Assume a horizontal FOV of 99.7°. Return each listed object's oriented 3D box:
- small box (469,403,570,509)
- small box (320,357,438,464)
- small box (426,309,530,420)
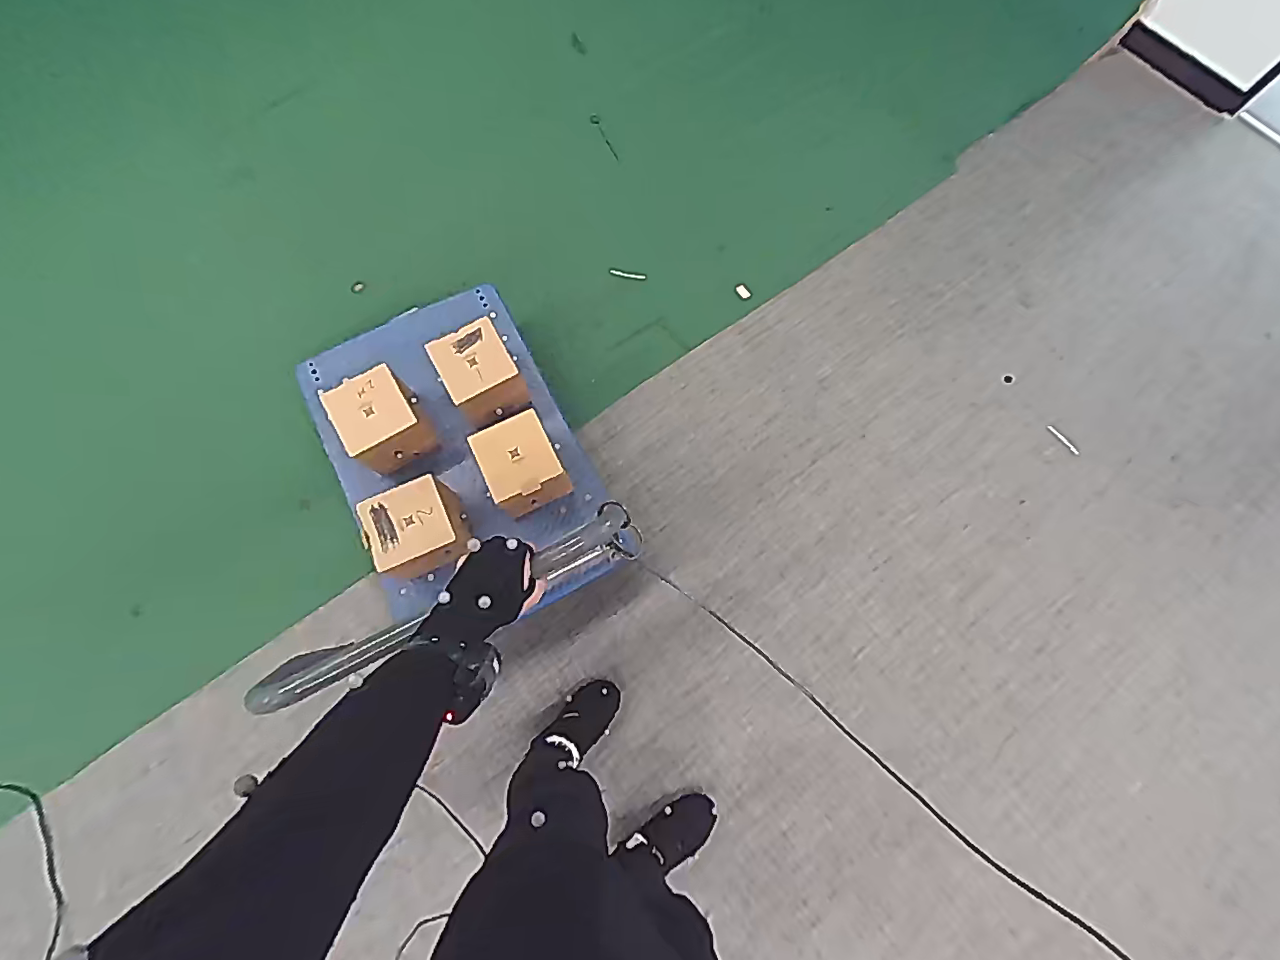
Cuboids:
[{"bbox_3d":[-0.277,-0.050,1.276,0.168,0.176,0.179,-26,79,-7],"label":"small box"},{"bbox_3d":[-0.615,-0.154,1.295,0.168,0.176,0.179,-30,79,-9],"label":"small box"},{"bbox_3d":[-0.391,-0.276,1.328,0.168,0.176,0.179,-29,79,-7],"label":"small box"}]
